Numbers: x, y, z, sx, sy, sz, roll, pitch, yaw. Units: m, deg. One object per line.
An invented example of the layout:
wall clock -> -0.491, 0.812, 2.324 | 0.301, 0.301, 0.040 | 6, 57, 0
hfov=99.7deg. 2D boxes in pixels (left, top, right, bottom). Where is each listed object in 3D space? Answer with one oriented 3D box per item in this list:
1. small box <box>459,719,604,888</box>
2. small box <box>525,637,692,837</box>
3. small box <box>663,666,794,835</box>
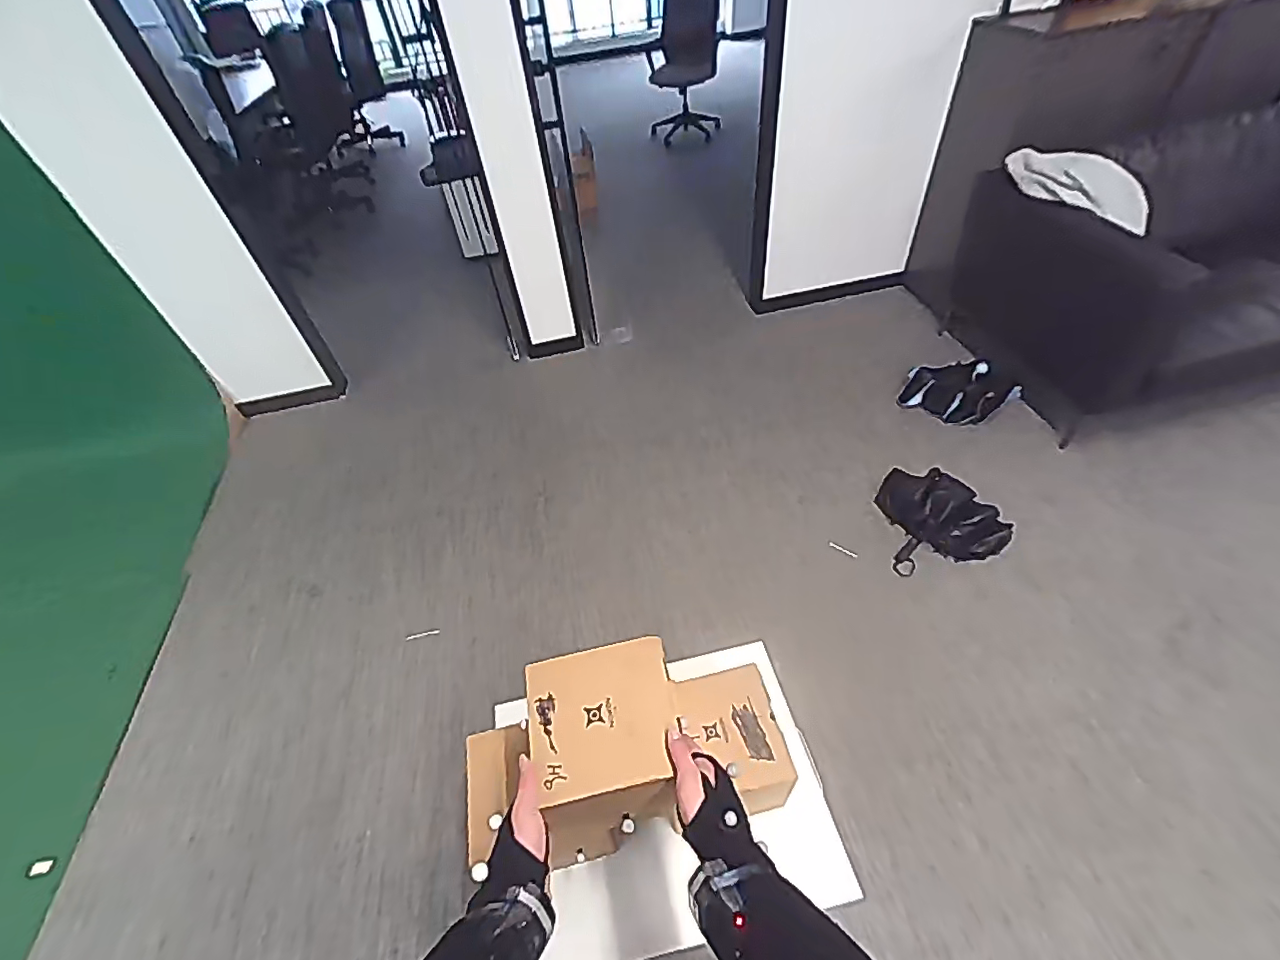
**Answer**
small box -> -0.152, 0.459, 0.781 | 0.179, 0.176, 0.168 | -12, 46, -8
small box -> -0.041, 0.323, 0.677 | 0.179, 0.176, 0.168 | -10, 47, -6
small box -> 0.107, 0.407, 0.811 | 0.179, 0.176, 0.168 | -11, 47, -5
